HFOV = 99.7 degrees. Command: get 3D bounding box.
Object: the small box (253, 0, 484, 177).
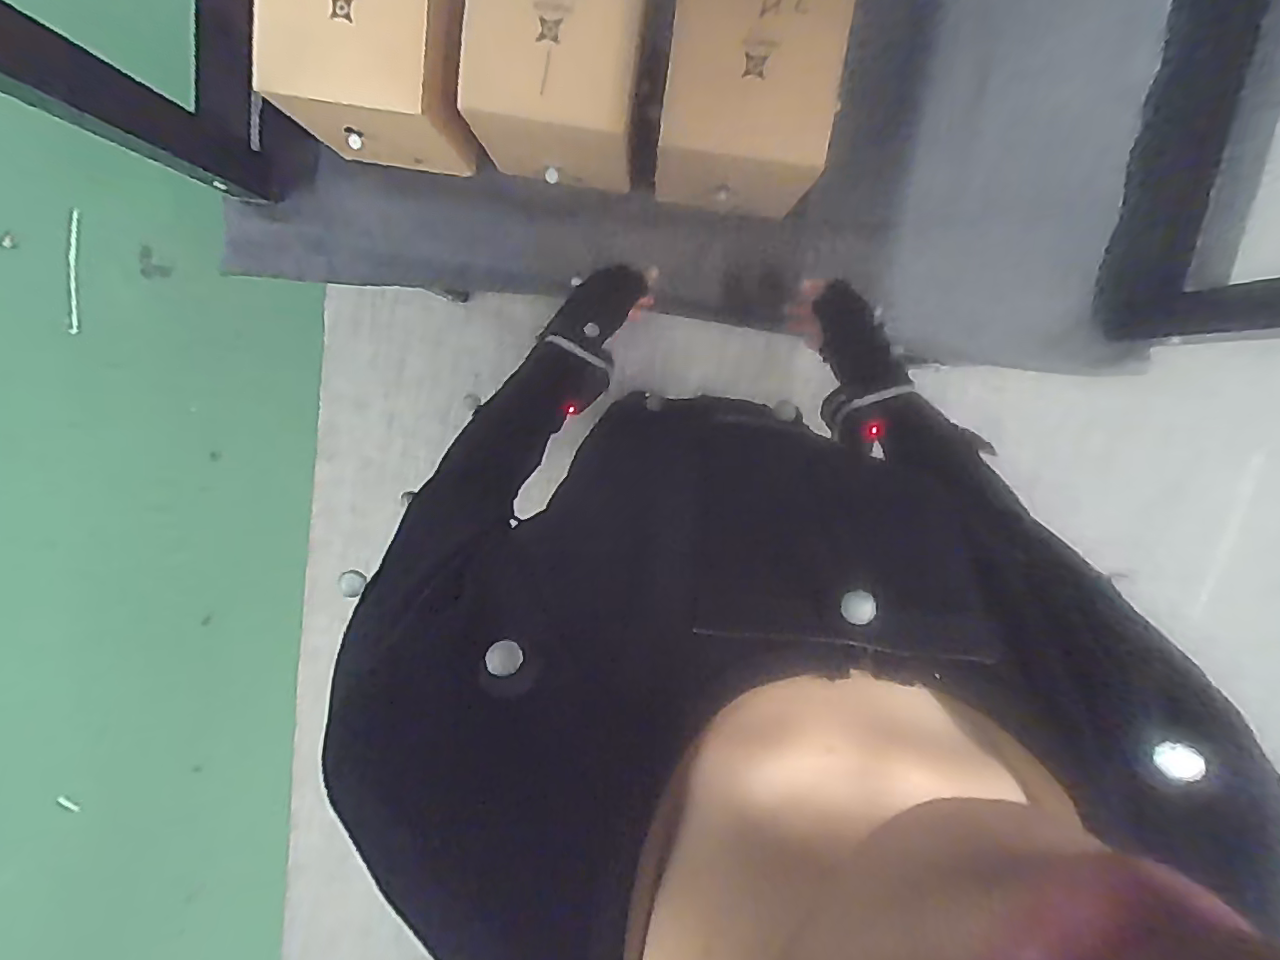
[{"bbox_3d":[-0.278,-0.457,0.586,0.168,0.176,0.179,8,99,-1],"label":"small box"}]
